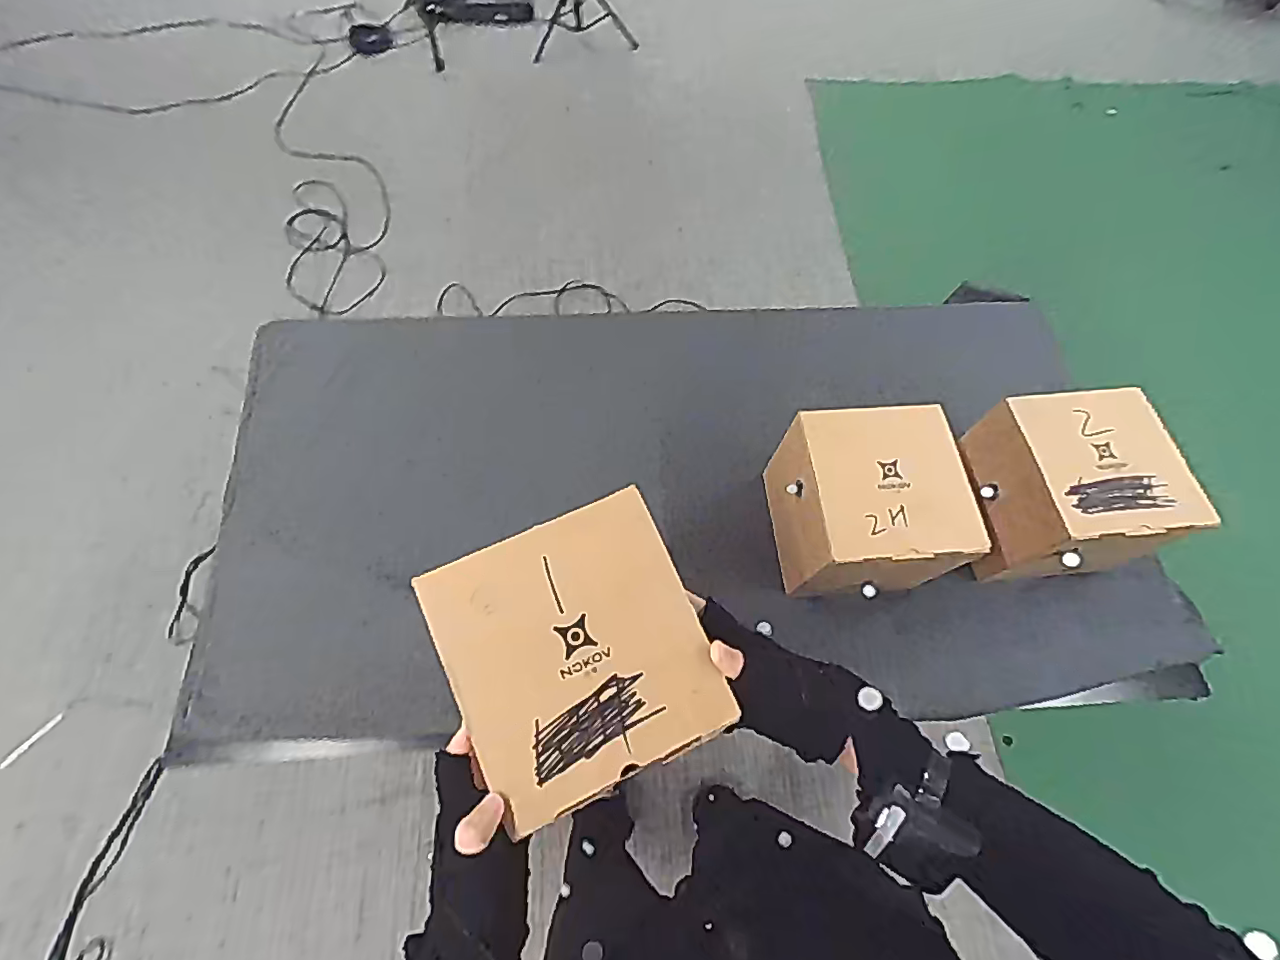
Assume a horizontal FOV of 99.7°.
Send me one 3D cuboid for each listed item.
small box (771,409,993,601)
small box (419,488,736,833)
[{"bbox_3d":[0.265,0.036,0.643,0.168,0.176,0.179,-4,66,-2],"label":"small box"},{"bbox_3d":[-0.050,0.128,0.434,0.168,0.176,0.179,-21,79,-13],"label":"small box"}]
